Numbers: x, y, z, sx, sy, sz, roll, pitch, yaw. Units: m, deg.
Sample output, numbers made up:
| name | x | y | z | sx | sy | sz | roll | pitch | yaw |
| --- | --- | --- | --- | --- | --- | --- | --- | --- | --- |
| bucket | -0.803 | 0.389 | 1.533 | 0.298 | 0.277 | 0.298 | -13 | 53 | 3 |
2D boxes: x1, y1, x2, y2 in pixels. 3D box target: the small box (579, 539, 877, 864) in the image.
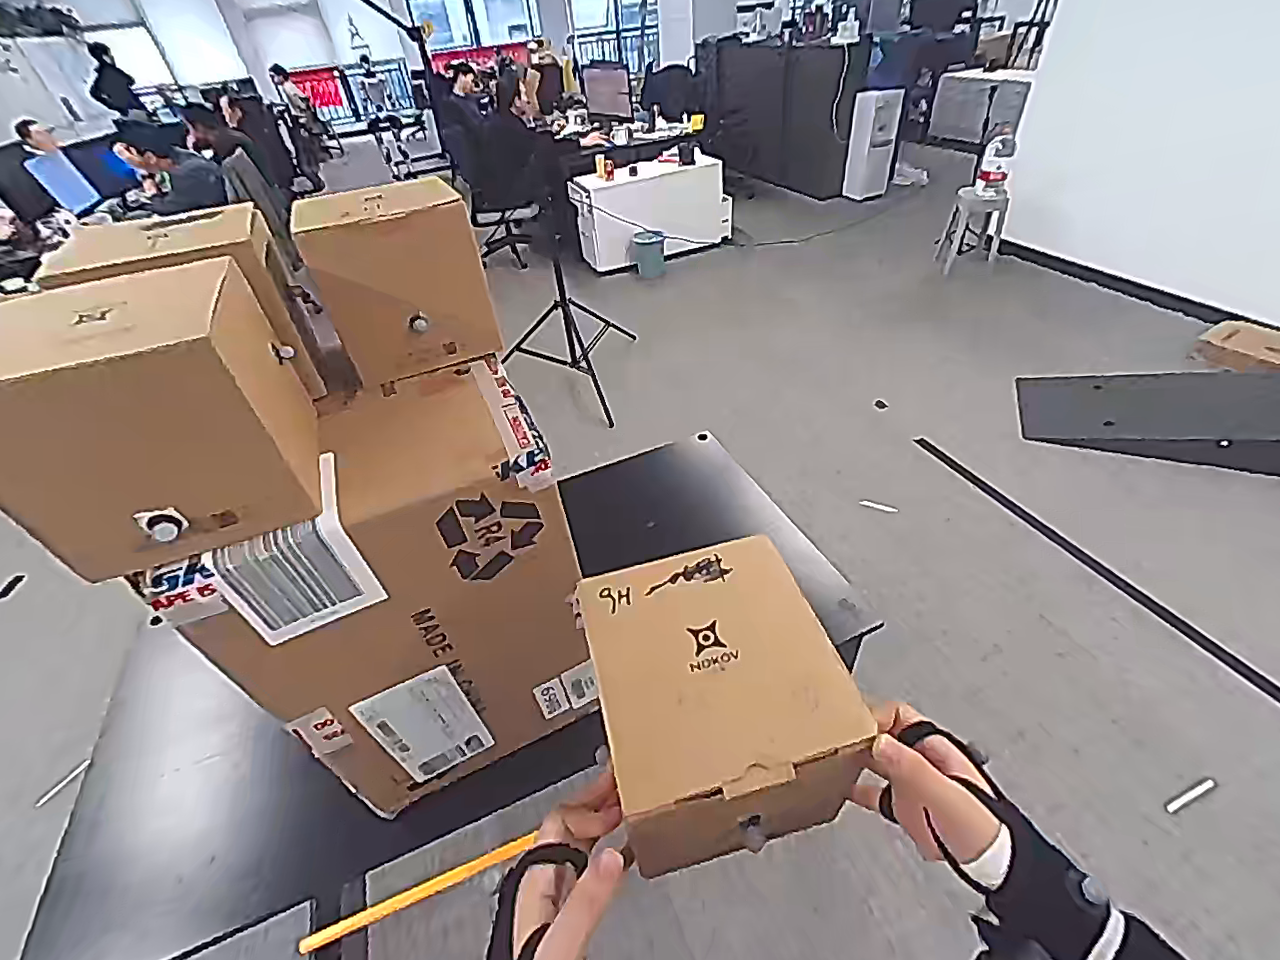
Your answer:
| name | x | y | z | sx | sy | sz | roll | pitch | yaw |
| --- | --- | --- | --- | --- | --- | --- | --- | --- | --- |
| small box | 0.056 | 0.181 | 0.436 | 0.168 | 0.176 | 0.179 | -13 | 44 | -7 |
